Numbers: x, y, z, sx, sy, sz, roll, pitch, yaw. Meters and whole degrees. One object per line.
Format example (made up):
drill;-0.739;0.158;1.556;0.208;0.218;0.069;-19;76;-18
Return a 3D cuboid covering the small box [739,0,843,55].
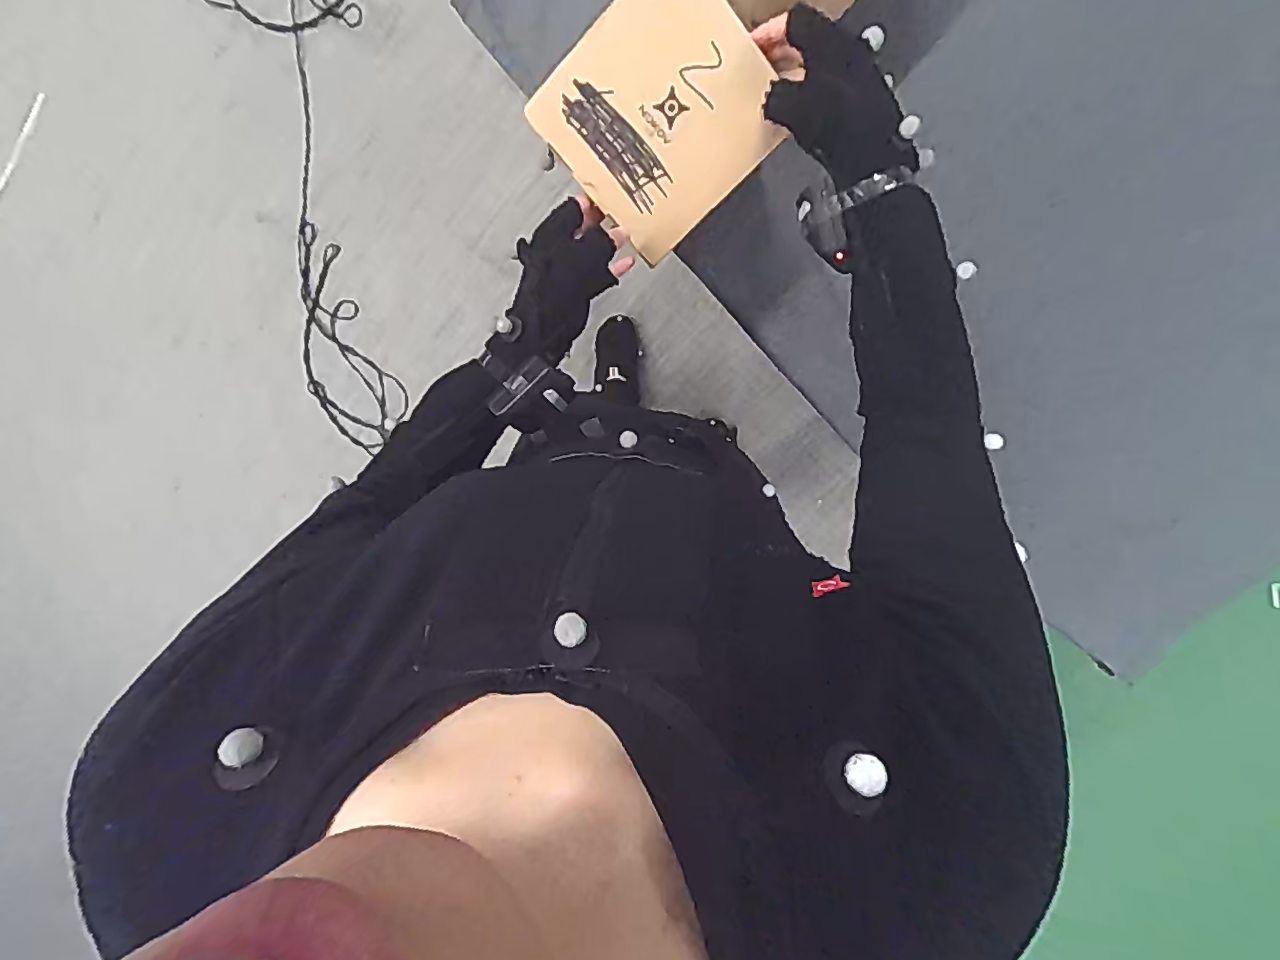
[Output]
small box;0.161;-0.558;0.499;0.168;0.176;0.179;42;102;-8
